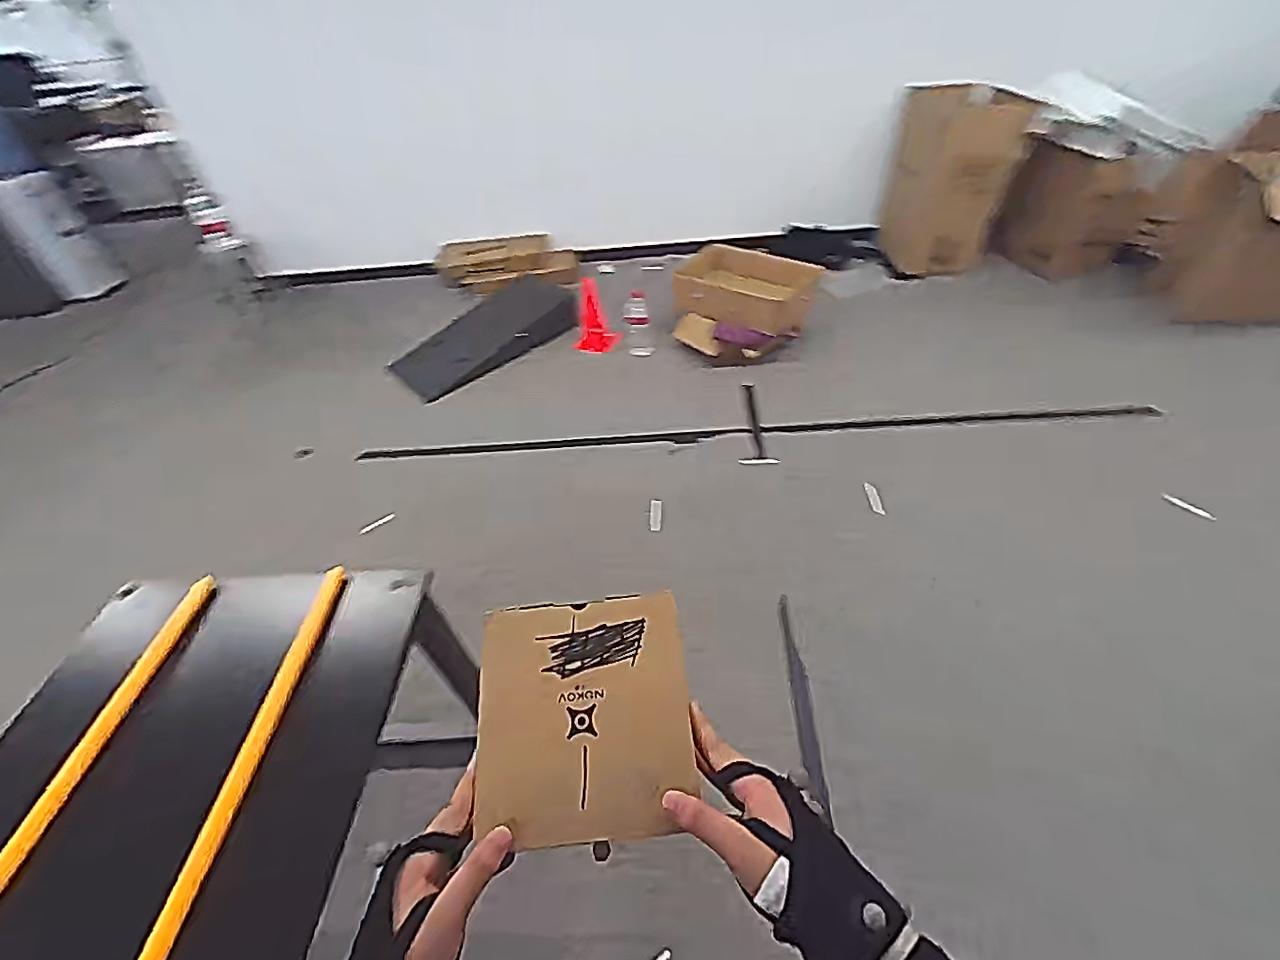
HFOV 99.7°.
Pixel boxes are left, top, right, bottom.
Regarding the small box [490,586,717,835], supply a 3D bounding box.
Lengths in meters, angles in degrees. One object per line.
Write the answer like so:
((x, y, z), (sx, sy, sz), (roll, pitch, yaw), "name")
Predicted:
((-0.026, 0.215, 0.495), (0.168, 0.176, 0.179), (-6, 59, 2), "small box")
